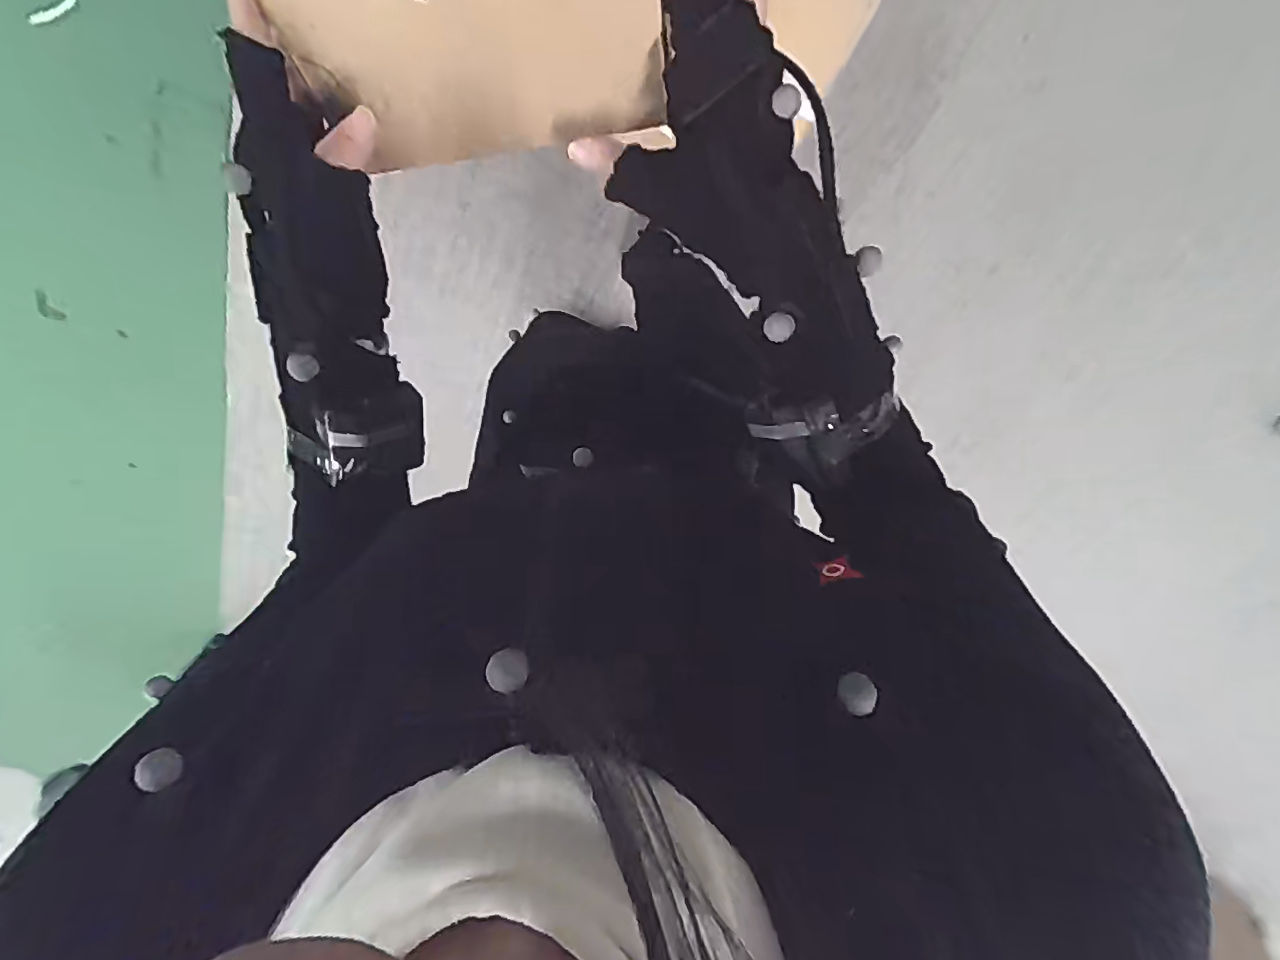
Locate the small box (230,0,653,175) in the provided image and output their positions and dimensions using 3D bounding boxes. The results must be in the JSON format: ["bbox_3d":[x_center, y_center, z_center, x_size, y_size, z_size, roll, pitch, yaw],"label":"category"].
[{"bbox_3d":[-0.090,-0.282,0.254,0.179,0.176,0.168,-6,148,9],"label":"small box"}]

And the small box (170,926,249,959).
[{"bbox_3d":[-1.348,1.506,1.660,0.179,0.176,0.168,23,126,-8],"label":"small box"}]
